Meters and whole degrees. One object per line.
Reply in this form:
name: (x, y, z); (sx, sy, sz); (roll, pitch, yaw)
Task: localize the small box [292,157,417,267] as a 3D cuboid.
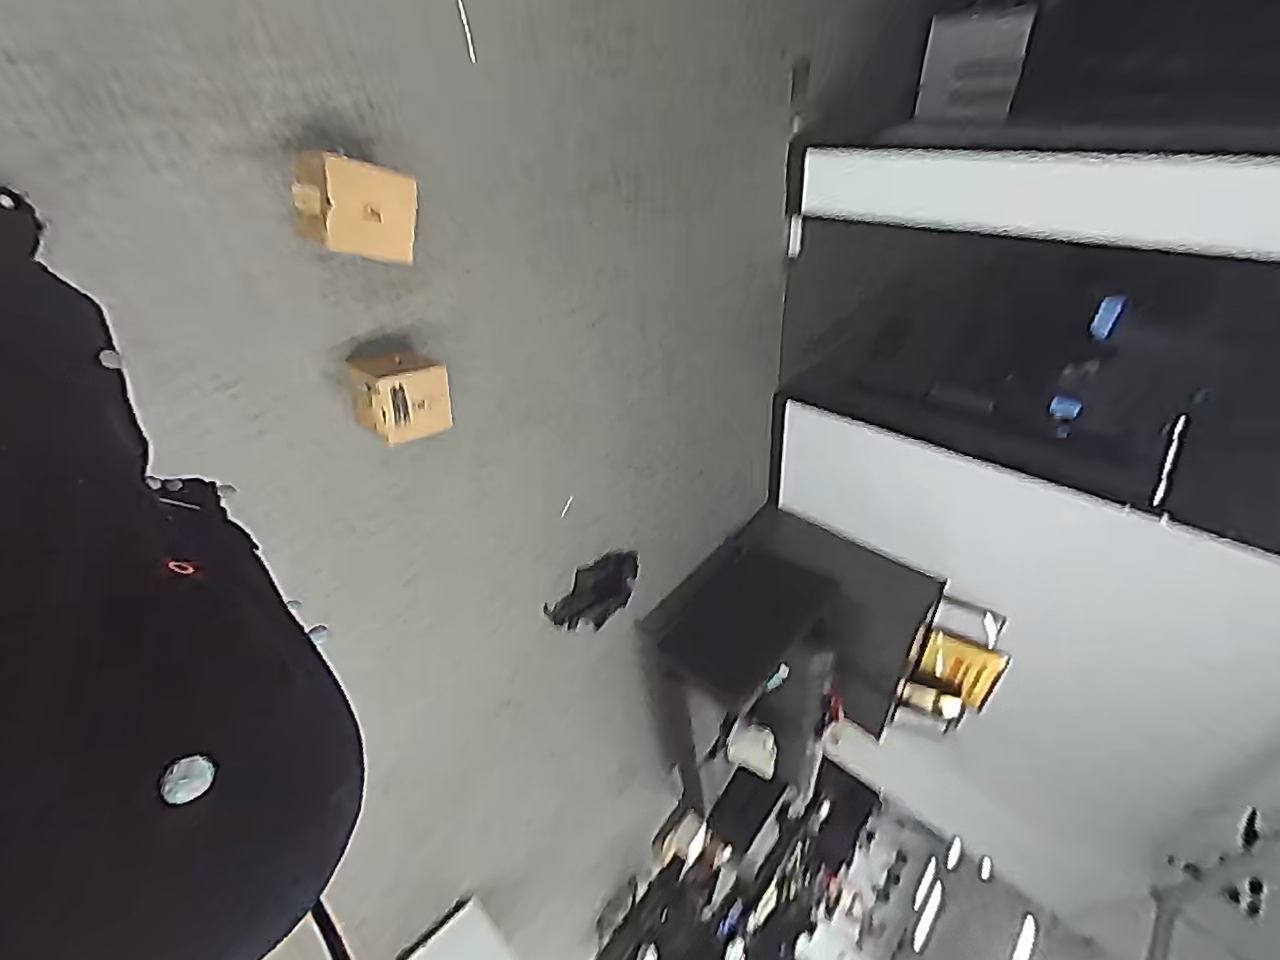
small box: (-0.588, -0.551, 1.113); (0.179, 0.176, 0.168); (-12, 121, -48)
